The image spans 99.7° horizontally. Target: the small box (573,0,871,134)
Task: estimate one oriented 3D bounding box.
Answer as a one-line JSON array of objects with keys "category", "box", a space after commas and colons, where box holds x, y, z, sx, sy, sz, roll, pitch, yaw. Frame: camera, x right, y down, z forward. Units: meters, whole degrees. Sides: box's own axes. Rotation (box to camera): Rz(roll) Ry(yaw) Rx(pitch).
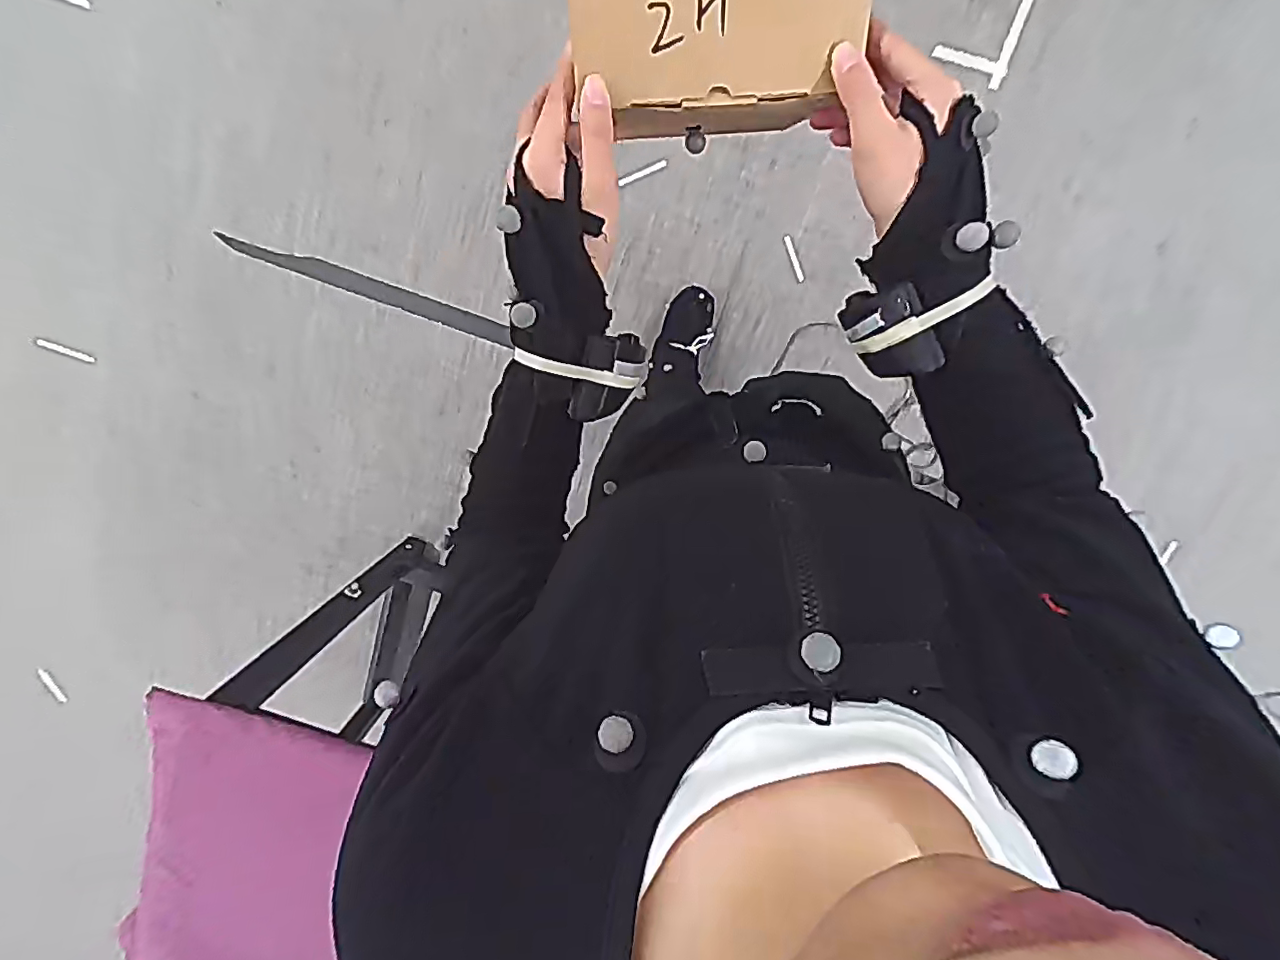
[{"category": "small box", "box": [0.040, -0.338, 0.345, 0.168, 0.176, 0.179, -3, 116, 0]}]
